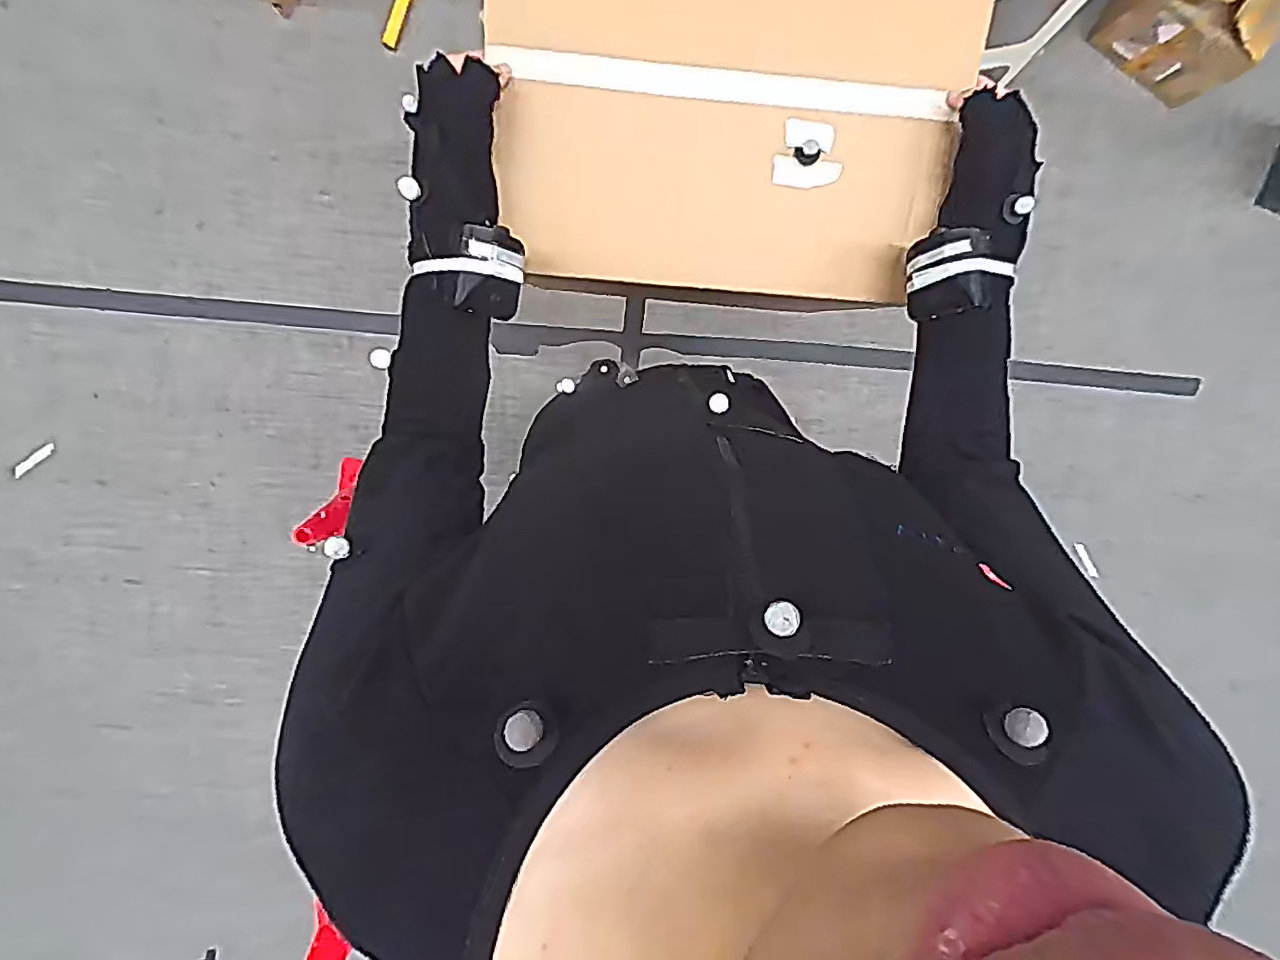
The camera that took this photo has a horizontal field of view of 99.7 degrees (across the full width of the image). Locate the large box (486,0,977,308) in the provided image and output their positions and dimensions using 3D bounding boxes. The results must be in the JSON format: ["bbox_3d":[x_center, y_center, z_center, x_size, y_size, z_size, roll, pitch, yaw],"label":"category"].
[{"bbox_3d":[0.064,-0.367,0.594,0.408,0.320,0.320,3,106,-4],"label":"large box"}]
